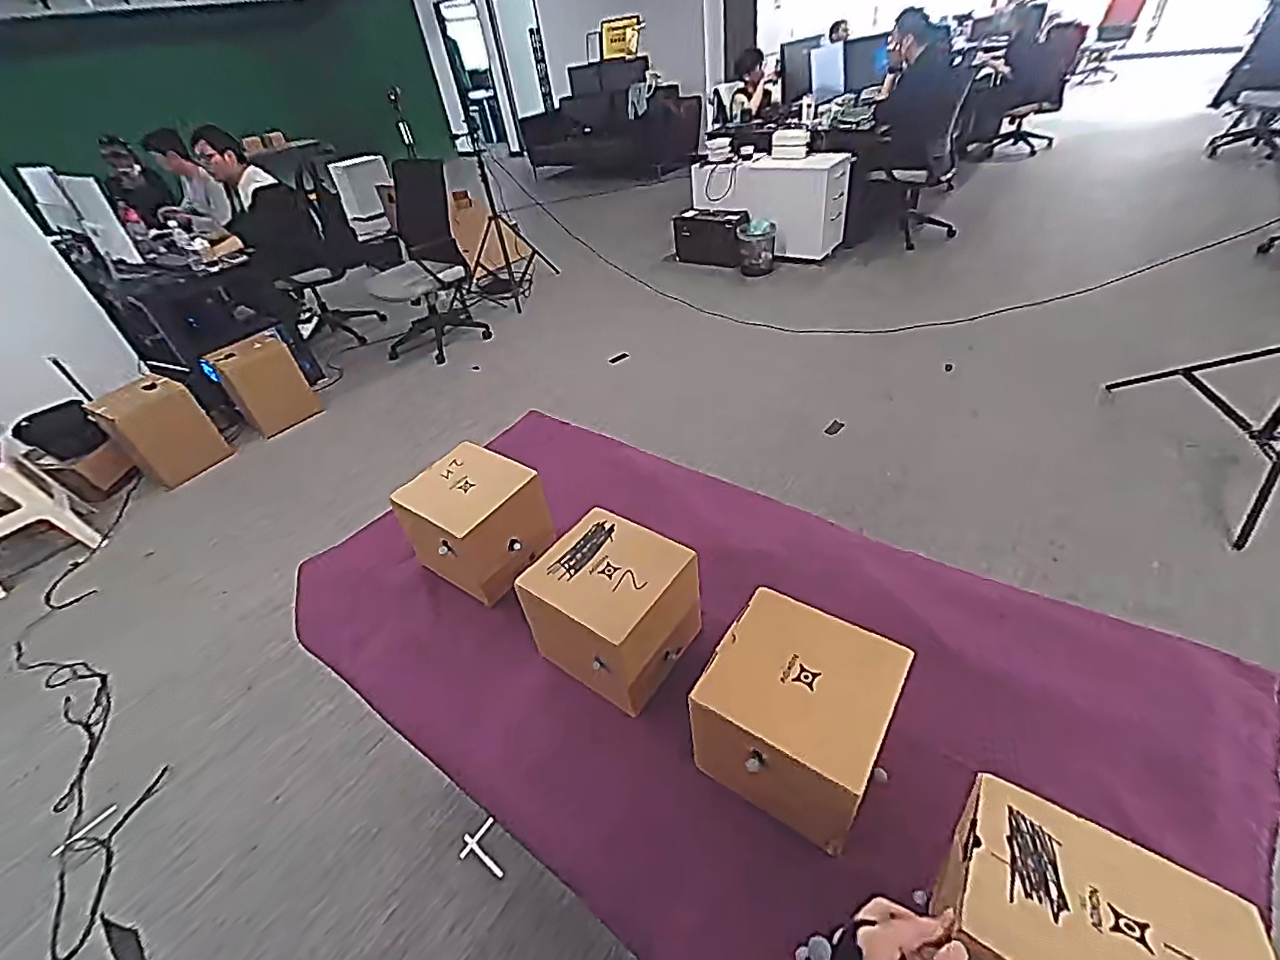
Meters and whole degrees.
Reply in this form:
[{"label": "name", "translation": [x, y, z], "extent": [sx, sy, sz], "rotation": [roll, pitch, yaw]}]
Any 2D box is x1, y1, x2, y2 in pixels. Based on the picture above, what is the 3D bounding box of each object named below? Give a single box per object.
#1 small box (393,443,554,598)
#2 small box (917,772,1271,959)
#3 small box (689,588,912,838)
[{"label": "small box", "translation": [-0.268, 0.071, 0.908], "extent": [0.179, 0.176, 0.168], "rotation": [22, 48, 29]}, {"label": "small box", "translation": [0.312, 0.371, 0.395], "extent": [0.179, 0.176, 0.168], "rotation": [20, 23, 32]}, {"label": "small box", "translation": [0.175, 0.261, 0.605], "extent": [0.179, 0.176, 0.168], "rotation": [20, 48, 31]}]
